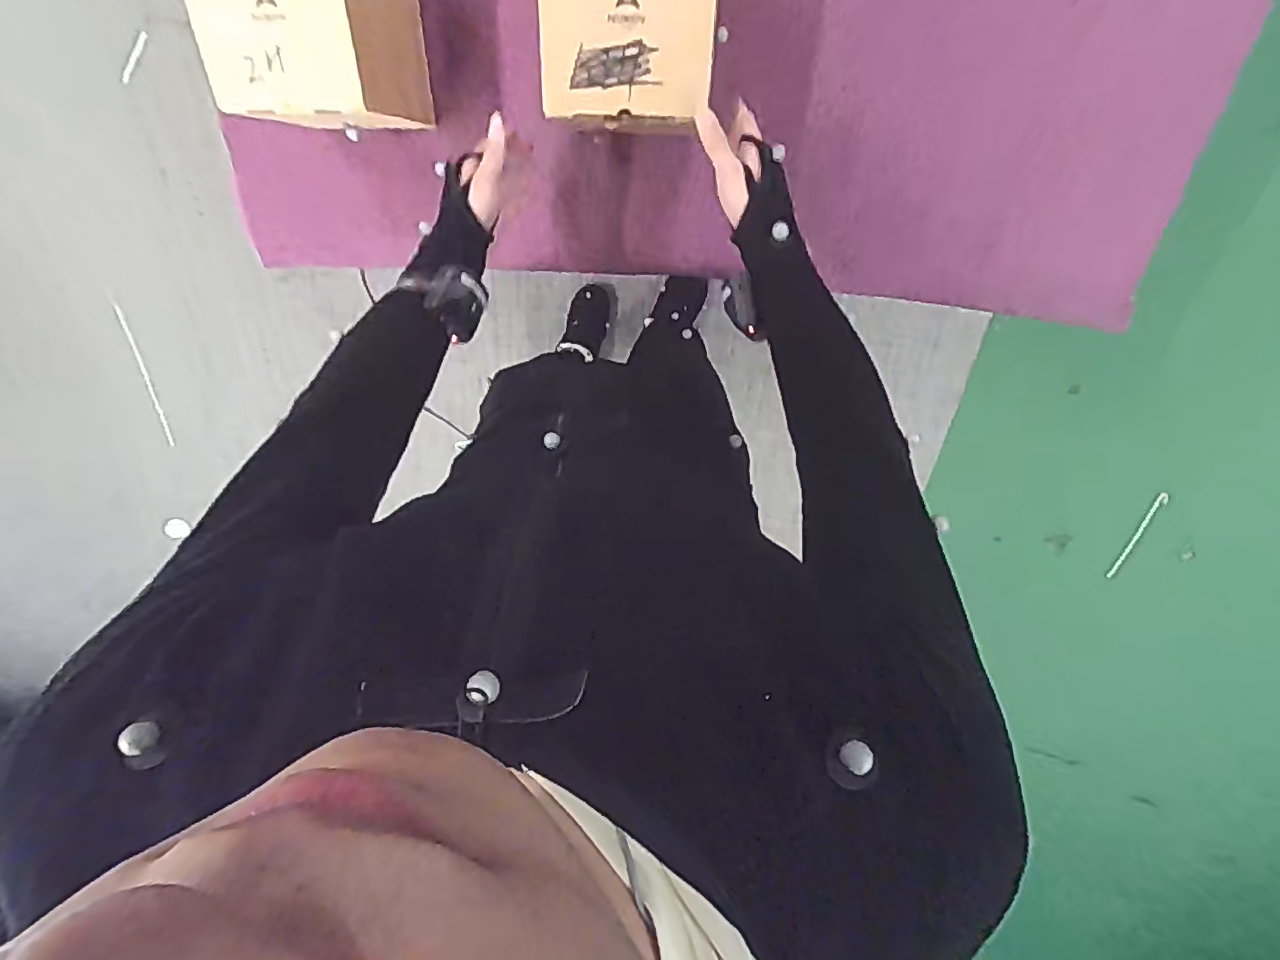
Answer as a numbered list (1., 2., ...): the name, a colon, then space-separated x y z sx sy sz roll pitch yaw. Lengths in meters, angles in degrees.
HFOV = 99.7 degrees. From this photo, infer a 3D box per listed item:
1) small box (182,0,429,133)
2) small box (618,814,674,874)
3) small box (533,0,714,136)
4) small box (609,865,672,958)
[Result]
1. small box: -0.354 -0.494 0.591 0.168 0.176 0.179 3 119 5
2. small box: 0.022 1.285 1.859 0.179 0.176 0.168 7 119 5
3. small box: -0.009 -0.470 0.565 0.168 0.176 0.179 4 118 4
4. small box: 0.003 1.361 1.714 0.179 0.176 0.168 5 118 5
